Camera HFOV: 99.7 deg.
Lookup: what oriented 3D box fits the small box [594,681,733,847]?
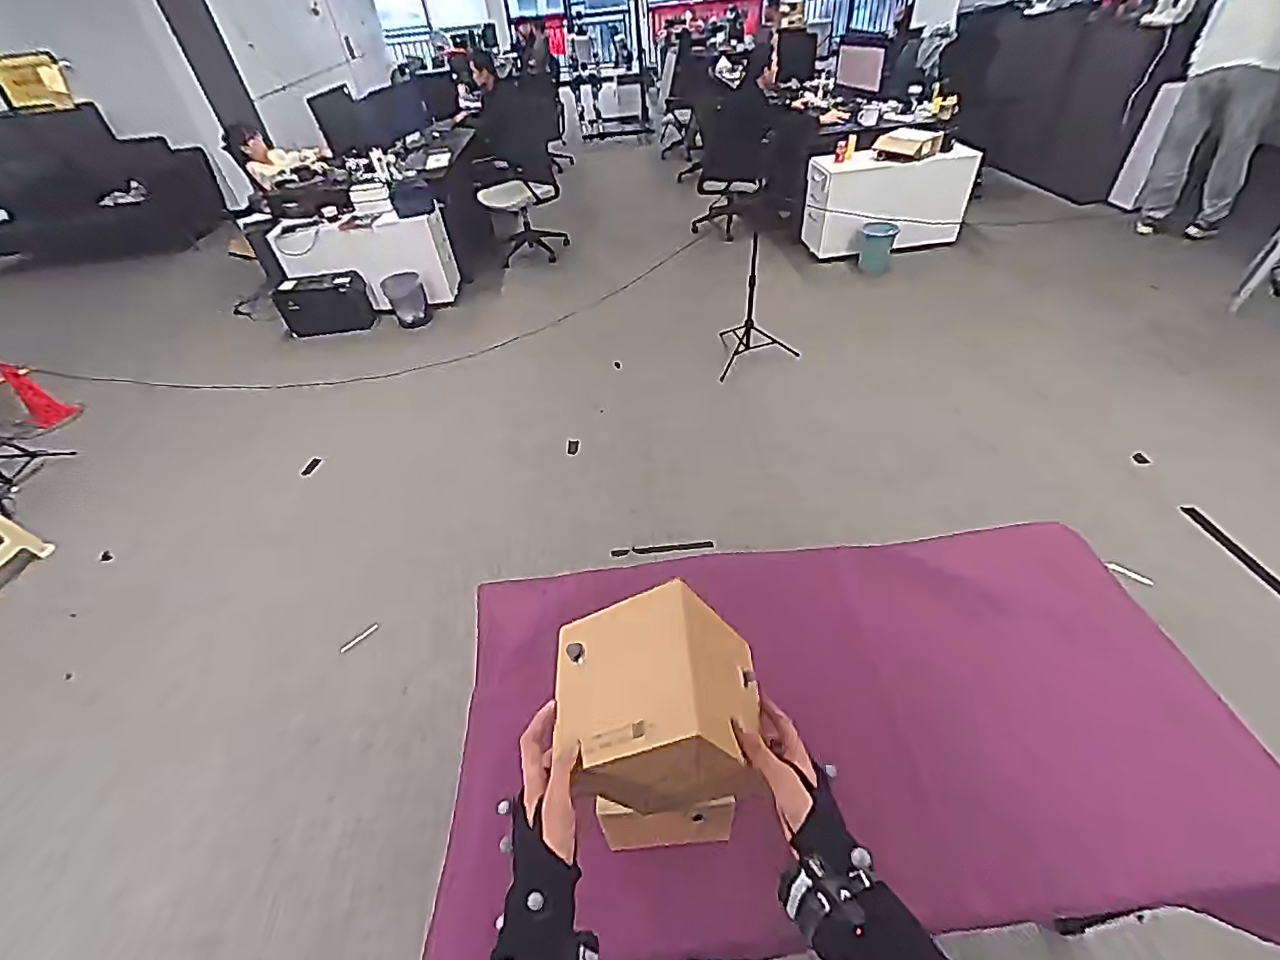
[{"bbox_3d":[0.030,0.411,0.782,0.179,0.176,0.168,-5,43,1],"label":"small box"}]
